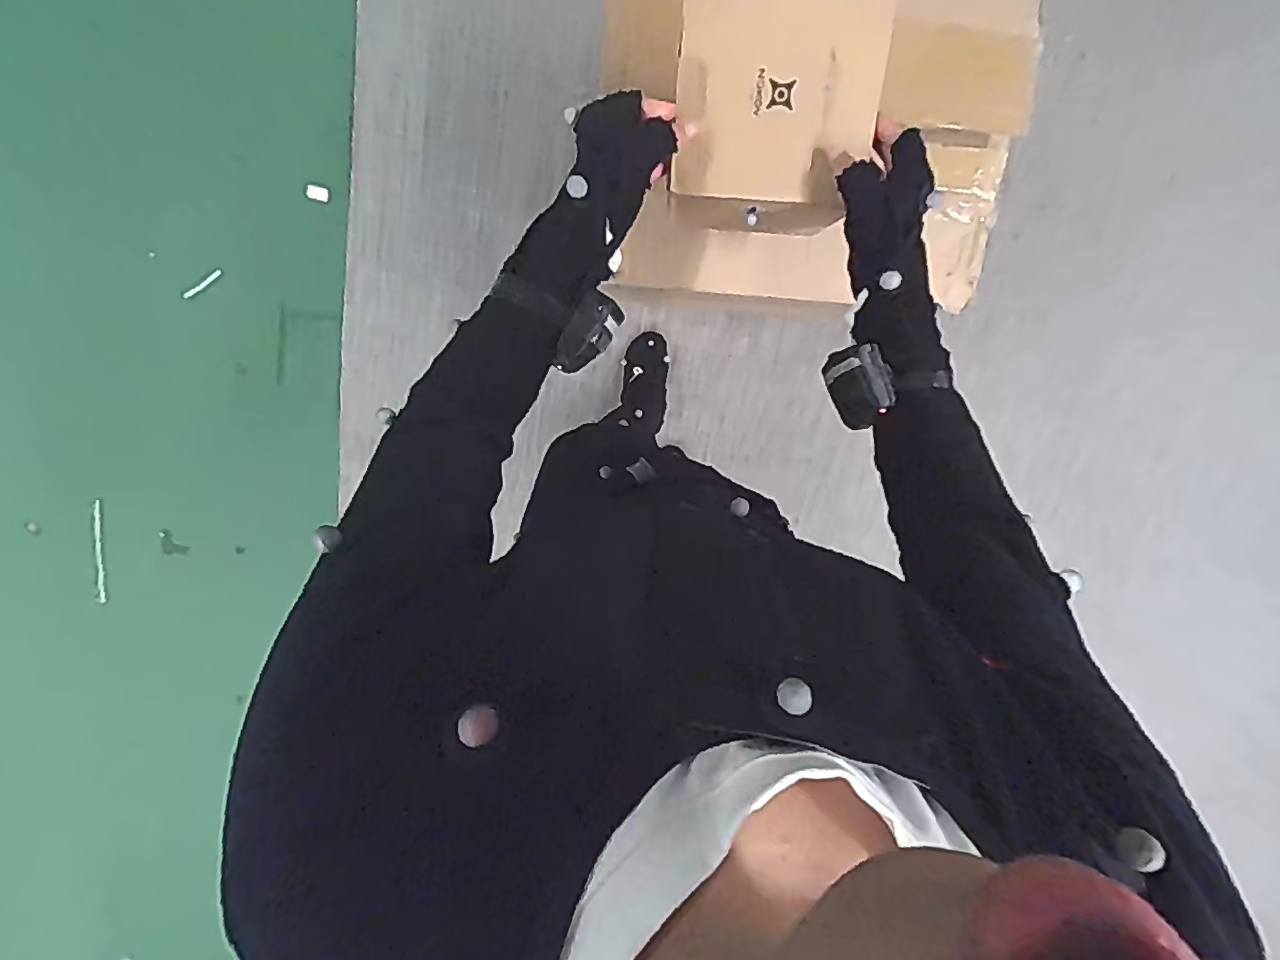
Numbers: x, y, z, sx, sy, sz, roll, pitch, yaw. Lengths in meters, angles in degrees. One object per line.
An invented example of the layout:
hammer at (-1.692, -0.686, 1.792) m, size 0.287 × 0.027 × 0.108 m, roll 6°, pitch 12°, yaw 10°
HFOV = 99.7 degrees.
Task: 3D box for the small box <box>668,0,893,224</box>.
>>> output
small box at (0.120, -0.360, 0.539) m, size 0.179 × 0.176 × 0.168 m, roll 4°, pitch 107°, yaw 0°
